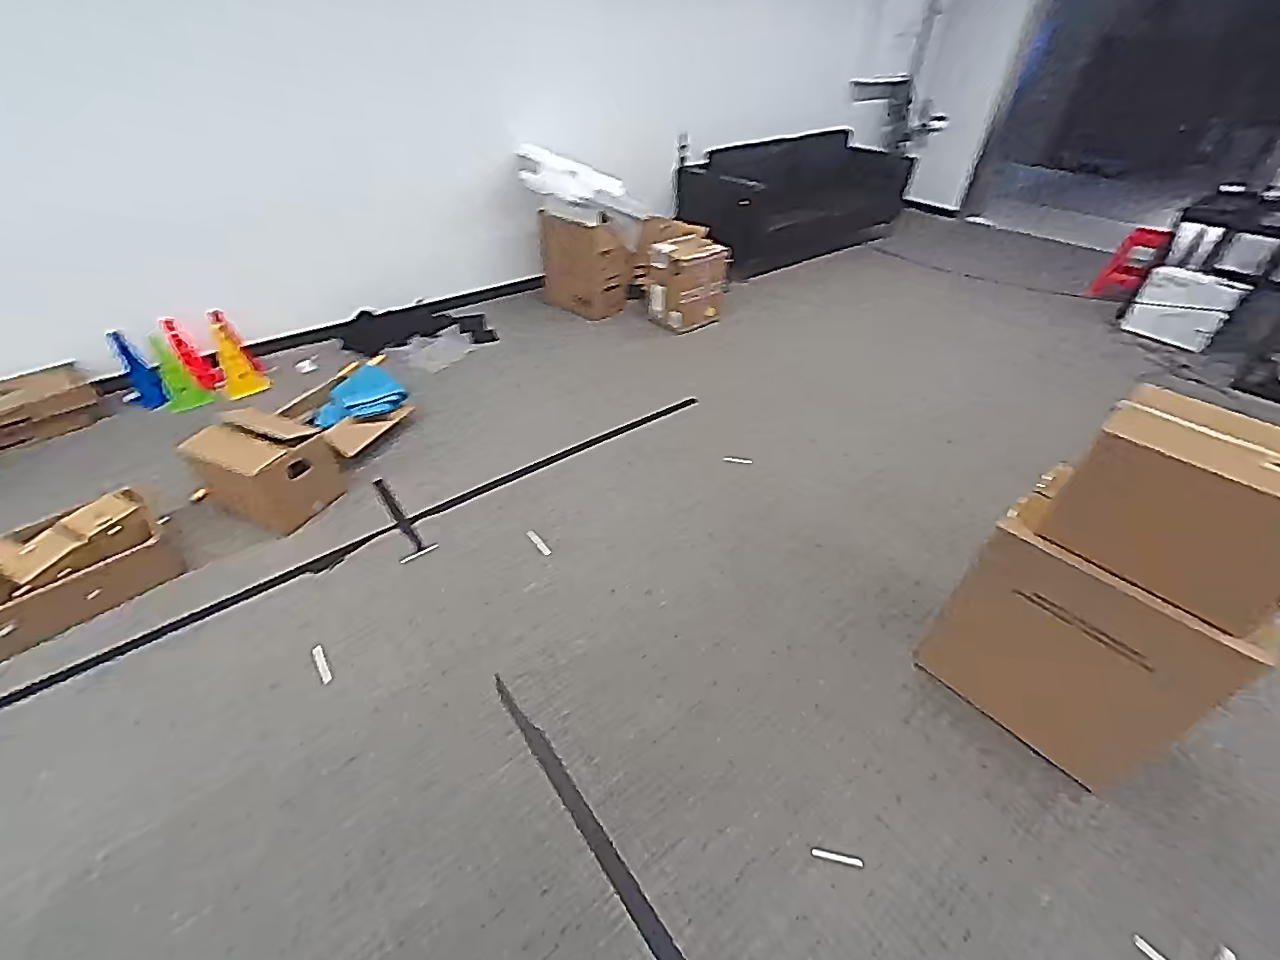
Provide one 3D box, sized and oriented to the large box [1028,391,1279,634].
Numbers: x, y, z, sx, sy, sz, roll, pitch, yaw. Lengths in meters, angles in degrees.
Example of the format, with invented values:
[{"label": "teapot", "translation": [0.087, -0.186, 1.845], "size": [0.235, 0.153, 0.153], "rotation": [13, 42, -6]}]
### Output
[{"label": "large box", "translation": [1.201, 0.055, 1.215], "size": [0.320, 0.320, 0.408], "rotation": [-29, 49, -31]}]
